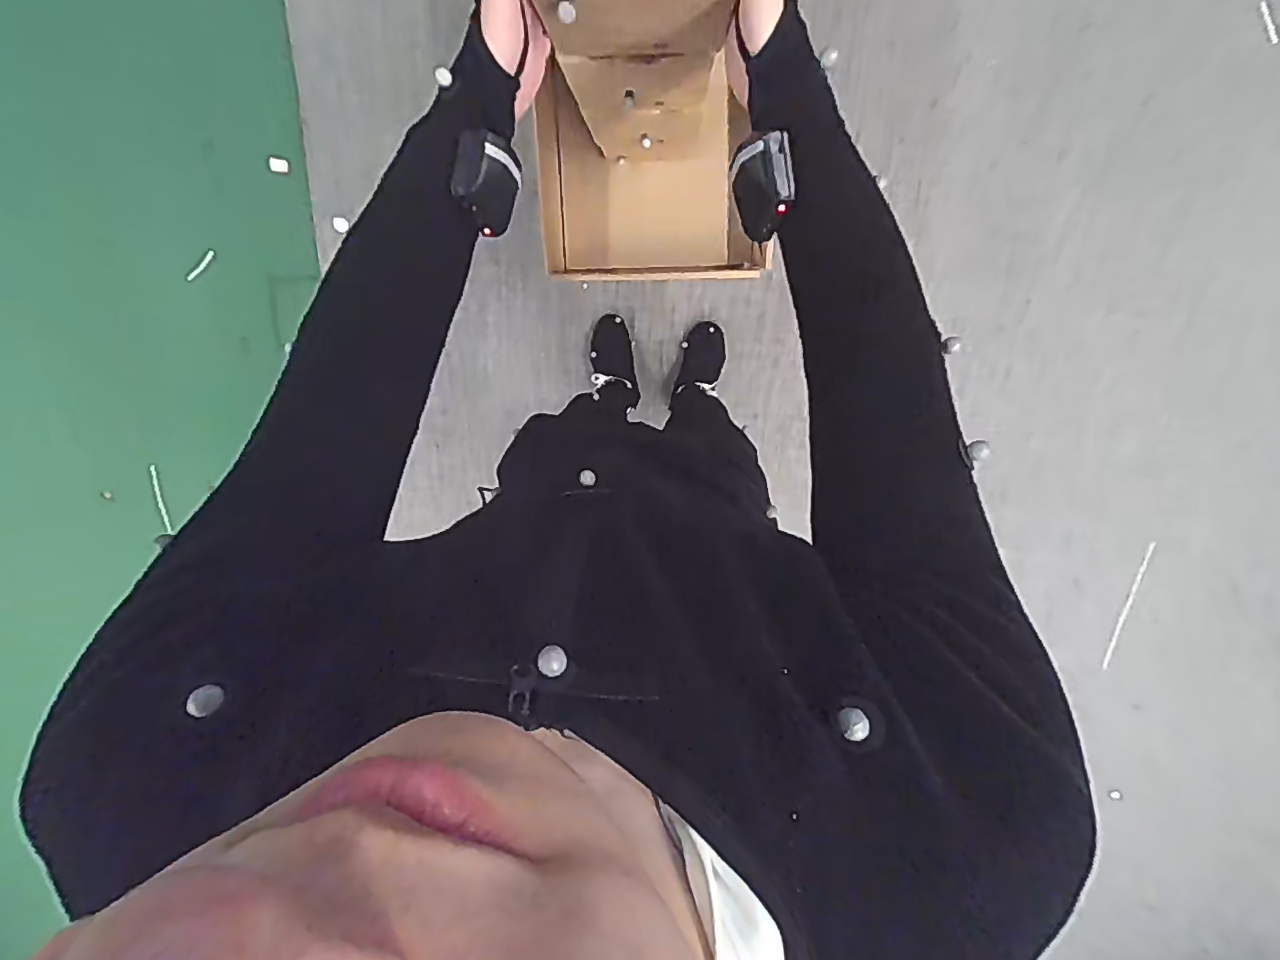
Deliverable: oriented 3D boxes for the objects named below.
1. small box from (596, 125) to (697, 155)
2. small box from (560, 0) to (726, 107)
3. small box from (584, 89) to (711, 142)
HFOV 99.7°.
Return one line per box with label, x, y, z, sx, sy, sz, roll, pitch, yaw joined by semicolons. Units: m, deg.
small box;0.017;-0.654;0.896;0.168;0.176;0.179;1;109;2
small box;0.003;-0.538;0.591;0.168;0.176;0.179;-1;110;2
small box;0.011;-0.588;0.745;0.168;0.176;0.179;0;110;3
